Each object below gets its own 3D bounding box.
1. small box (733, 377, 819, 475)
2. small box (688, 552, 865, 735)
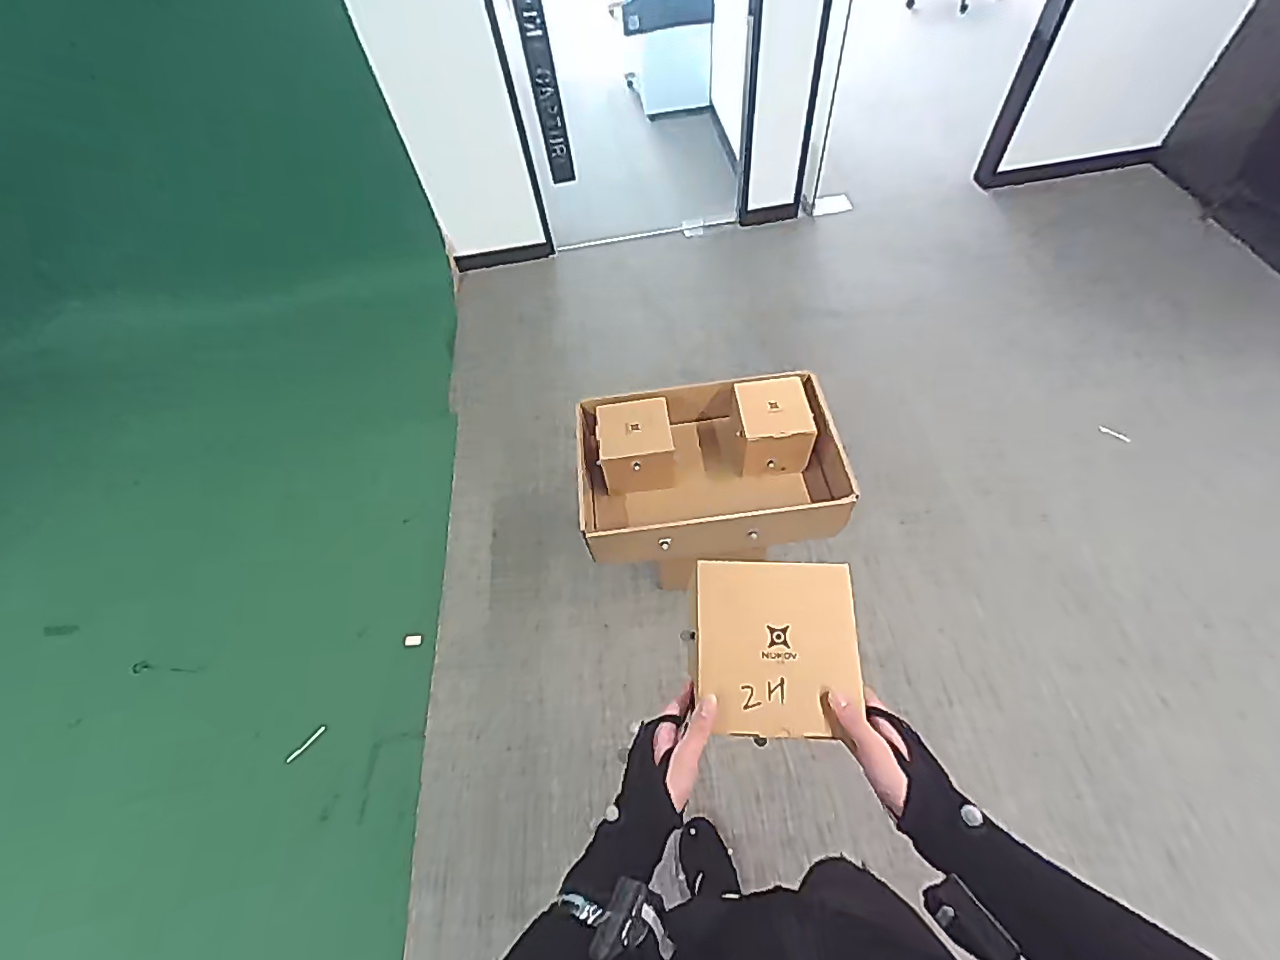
[{"bbox_3d":[0.330,-0.132,1.351,0.168,0.176,0.179,-6,58,1],"label":"small box"},{"bbox_3d":[0.144,0.191,0.631,0.168,0.176,0.179,2,70,2],"label":"small box"}]
